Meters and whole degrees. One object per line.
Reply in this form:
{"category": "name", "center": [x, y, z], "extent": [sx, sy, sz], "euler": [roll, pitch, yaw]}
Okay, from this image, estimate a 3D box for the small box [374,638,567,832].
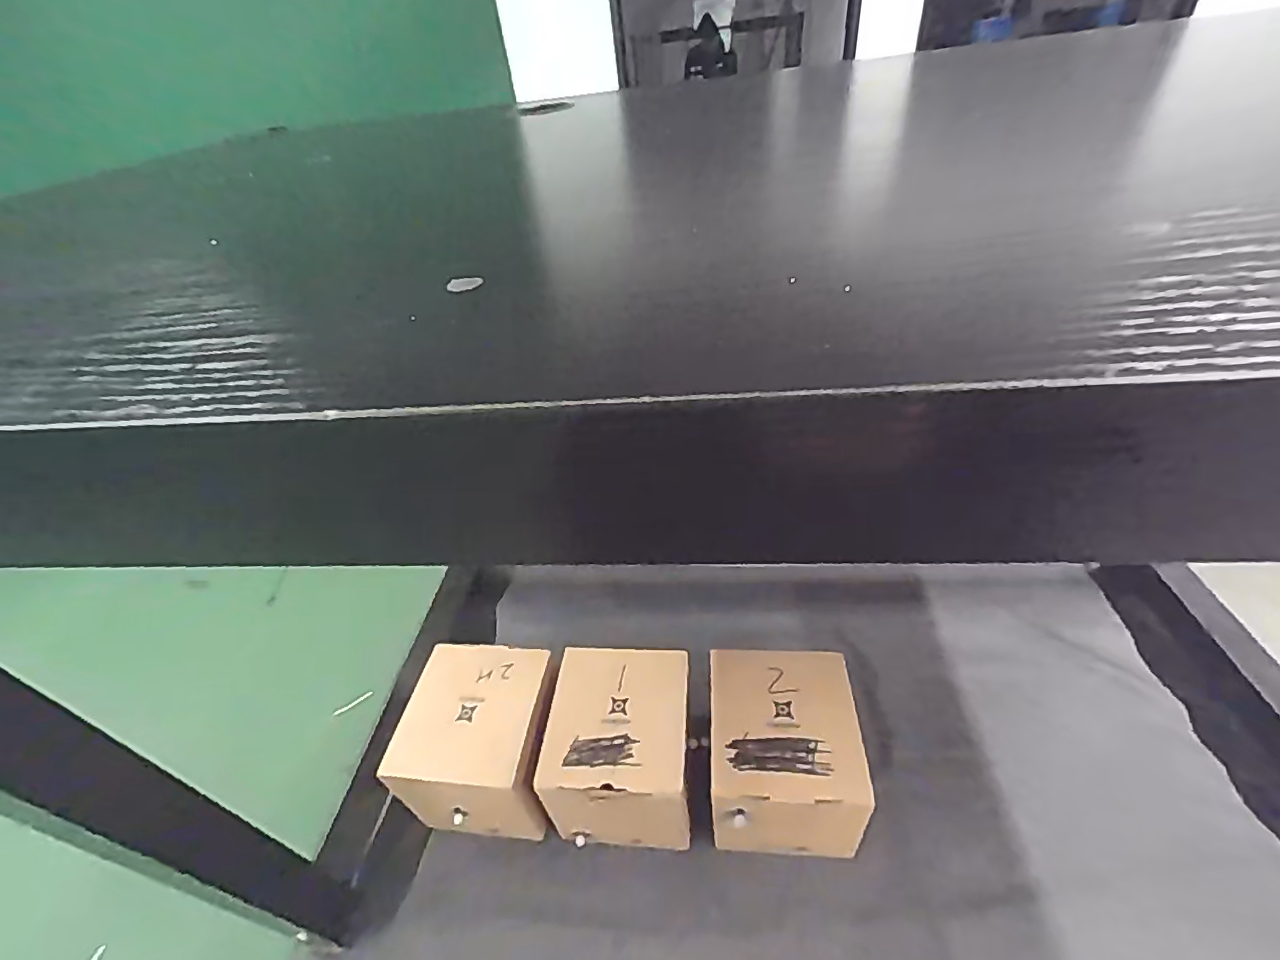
{"category": "small box", "center": [-0.203, 0.335, 0.711], "extent": [0.168, 0.176, 0.179], "euler": [2, 40, 9]}
